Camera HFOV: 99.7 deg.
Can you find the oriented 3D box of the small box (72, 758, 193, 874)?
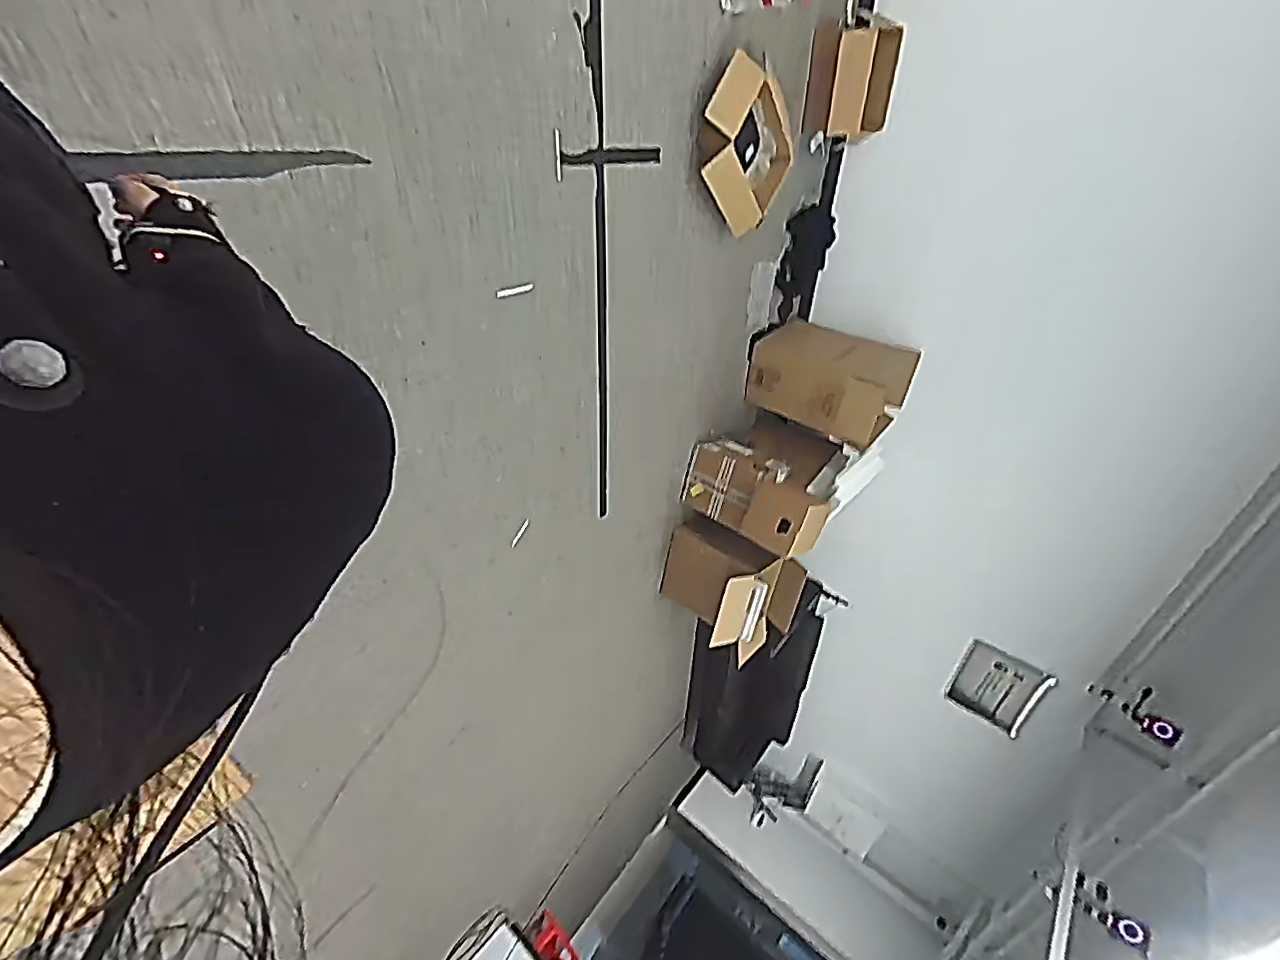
[{"bbox_3d":[-1.334,0.871,1.421,0.168,0.176,0.179,-32,138,-38],"label":"small box"}]
